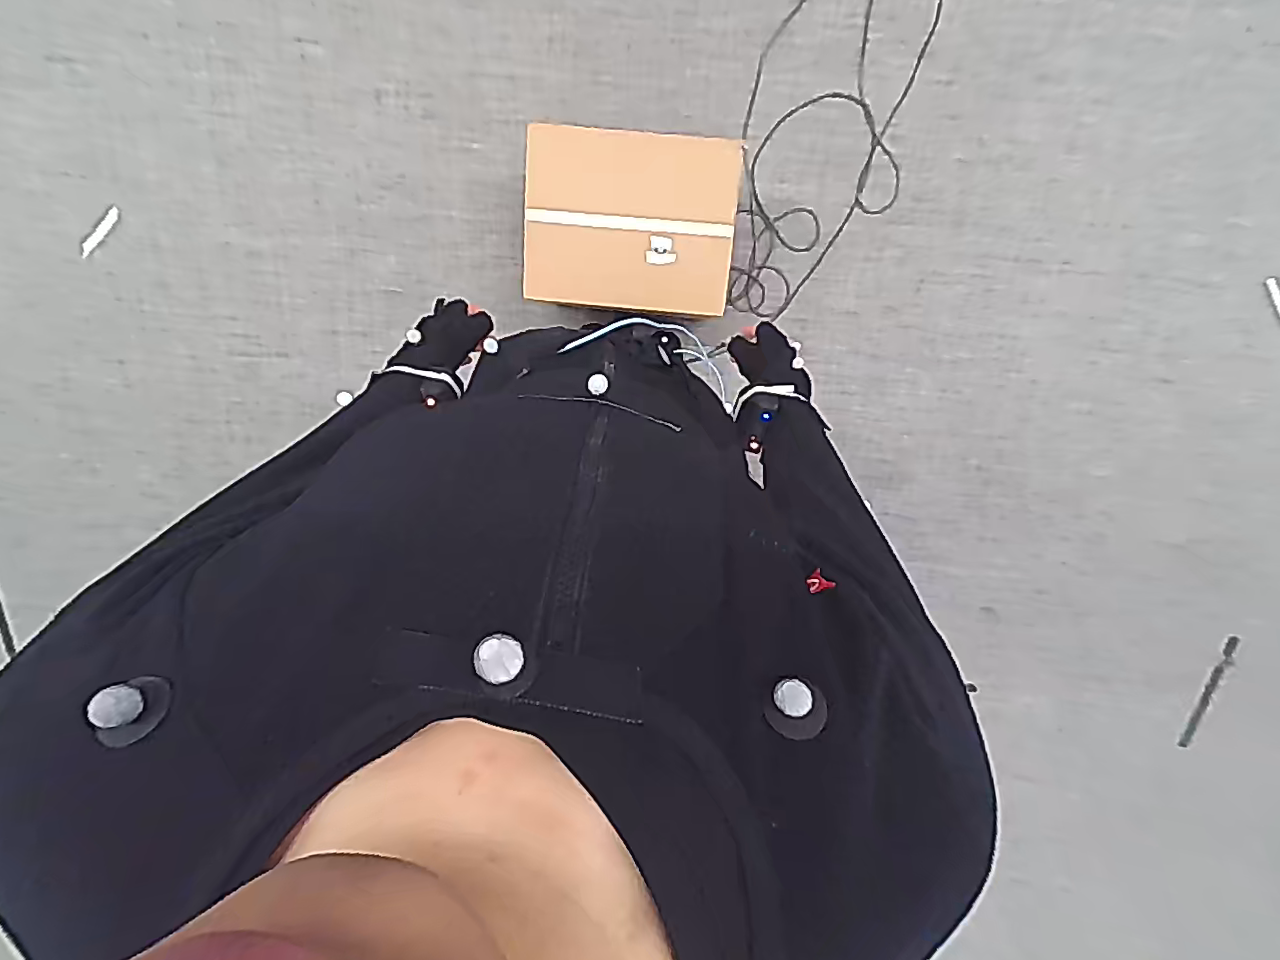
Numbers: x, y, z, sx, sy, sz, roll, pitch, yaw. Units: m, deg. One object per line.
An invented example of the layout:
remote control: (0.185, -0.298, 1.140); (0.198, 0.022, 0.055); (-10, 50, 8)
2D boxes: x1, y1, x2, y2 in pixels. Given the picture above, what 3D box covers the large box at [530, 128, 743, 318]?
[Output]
large box: (-0.013, -0.536, 1.193); (0.408, 0.320, 0.320); (5, 106, 0)
